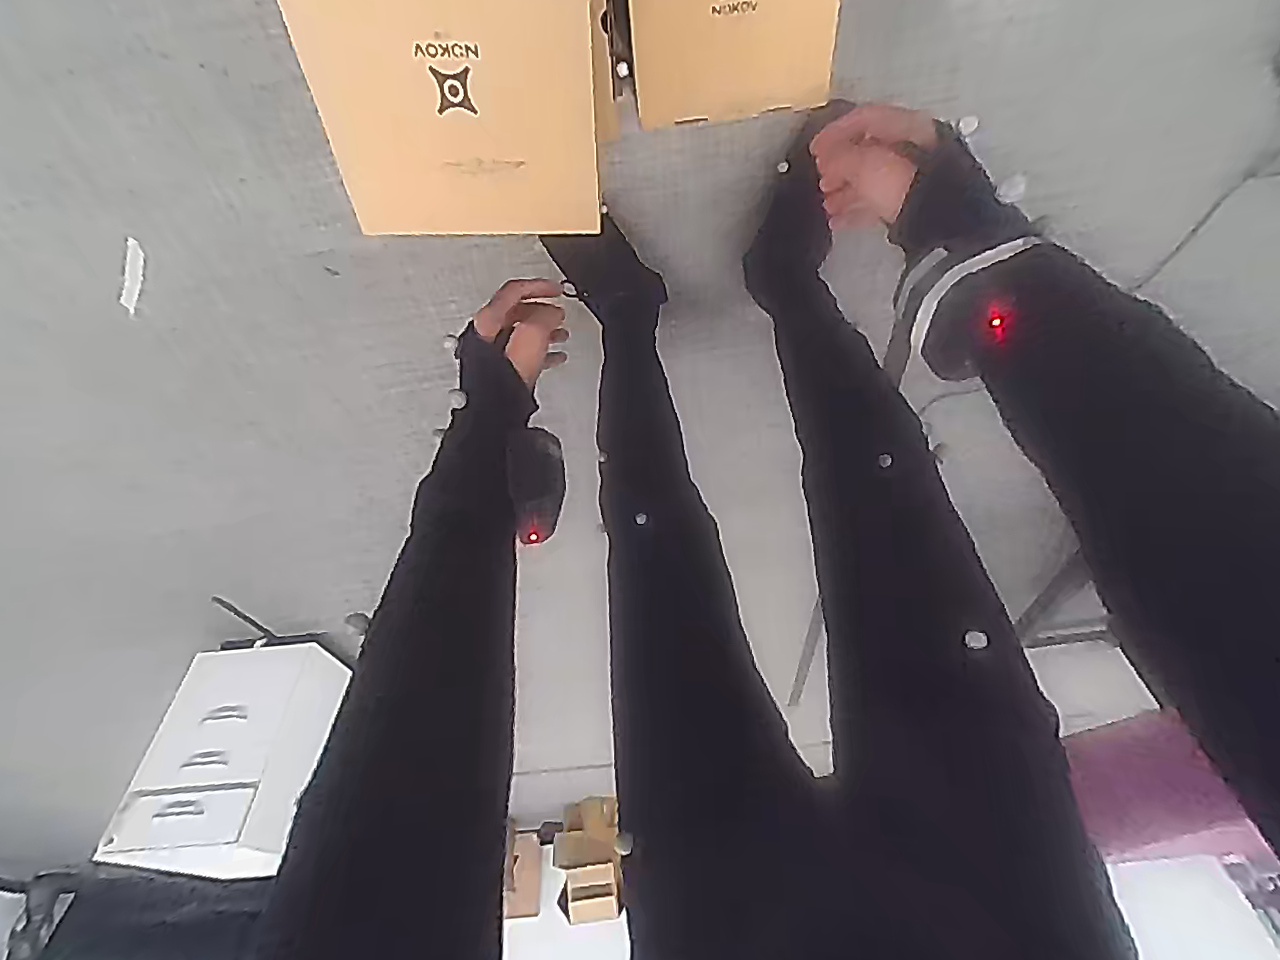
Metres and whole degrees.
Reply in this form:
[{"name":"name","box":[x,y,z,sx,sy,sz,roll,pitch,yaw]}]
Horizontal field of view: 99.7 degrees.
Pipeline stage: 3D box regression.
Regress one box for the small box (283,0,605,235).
[{"name":"small box","box":[-0.108,-0.287,0.361,0.168,0.176,0.179,-1,138,-2]}]
